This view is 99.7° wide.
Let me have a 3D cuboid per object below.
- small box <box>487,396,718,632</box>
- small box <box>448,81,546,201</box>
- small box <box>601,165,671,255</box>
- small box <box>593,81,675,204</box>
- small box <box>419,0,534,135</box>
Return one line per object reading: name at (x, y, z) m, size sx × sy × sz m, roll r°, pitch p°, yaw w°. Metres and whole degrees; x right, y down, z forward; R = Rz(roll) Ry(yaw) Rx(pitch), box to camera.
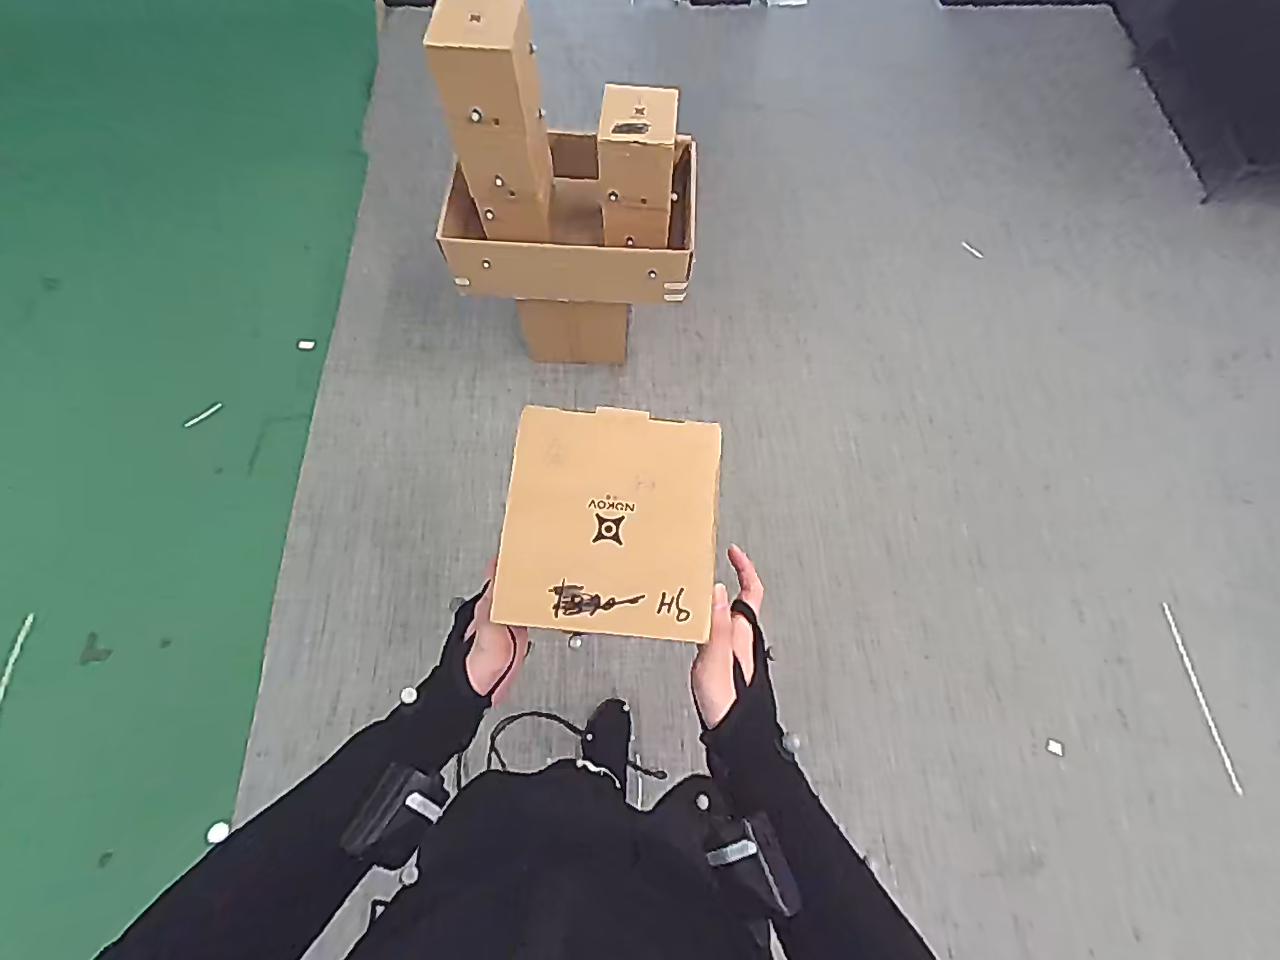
small box at (-0.027, 0.042, 0.498) m, size 0.168 × 0.176 × 0.179 m, roll 5°, pitch 75°, yaw 1°
small box at (-0.316, -0.775, 1.234) m, size 0.168 × 0.176 × 0.179 m, roll 4°, pitch 69°, yaw 2°
small box at (-0.010, -0.710, 1.388) m, size 0.168 × 0.176 × 0.179 m, roll 3°, pitch 70°, yaw 0°
small box at (-0.011, -0.761, 1.232) m, size 0.168 × 0.176 × 0.179 m, roll 4°, pitch 70°, yaw 0°
small box at (-0.314, -0.832, 1.081) m, size 0.168 × 0.176 × 0.179 m, roll 3°, pitch 69°, yaw 2°
